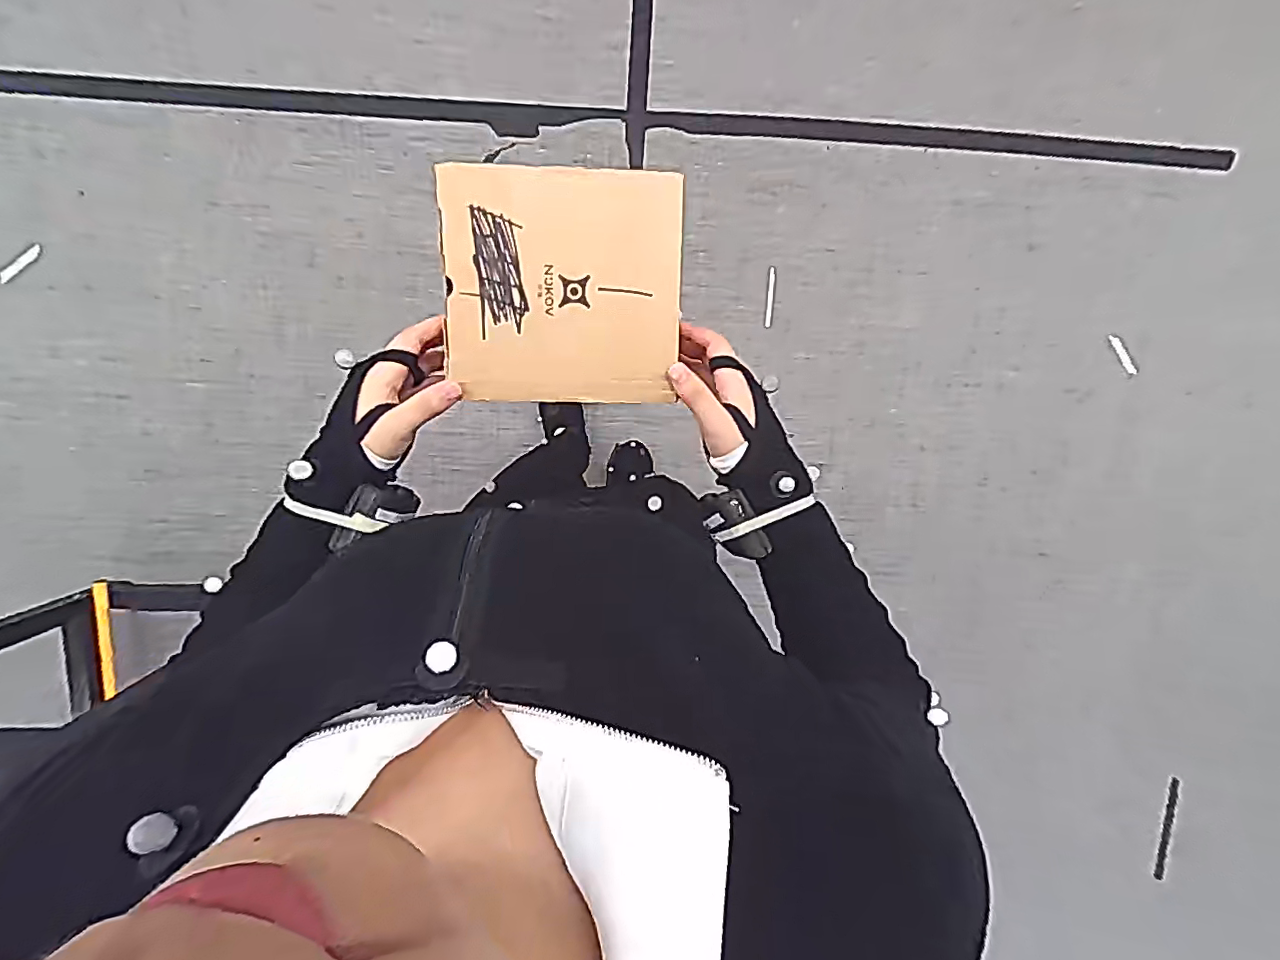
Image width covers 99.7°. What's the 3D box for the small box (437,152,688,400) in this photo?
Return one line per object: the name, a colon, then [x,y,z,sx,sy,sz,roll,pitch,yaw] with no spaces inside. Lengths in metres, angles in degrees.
small box: [-0.060,-0.157,0.466,0.179,0.176,0.168,1,102,-5]
